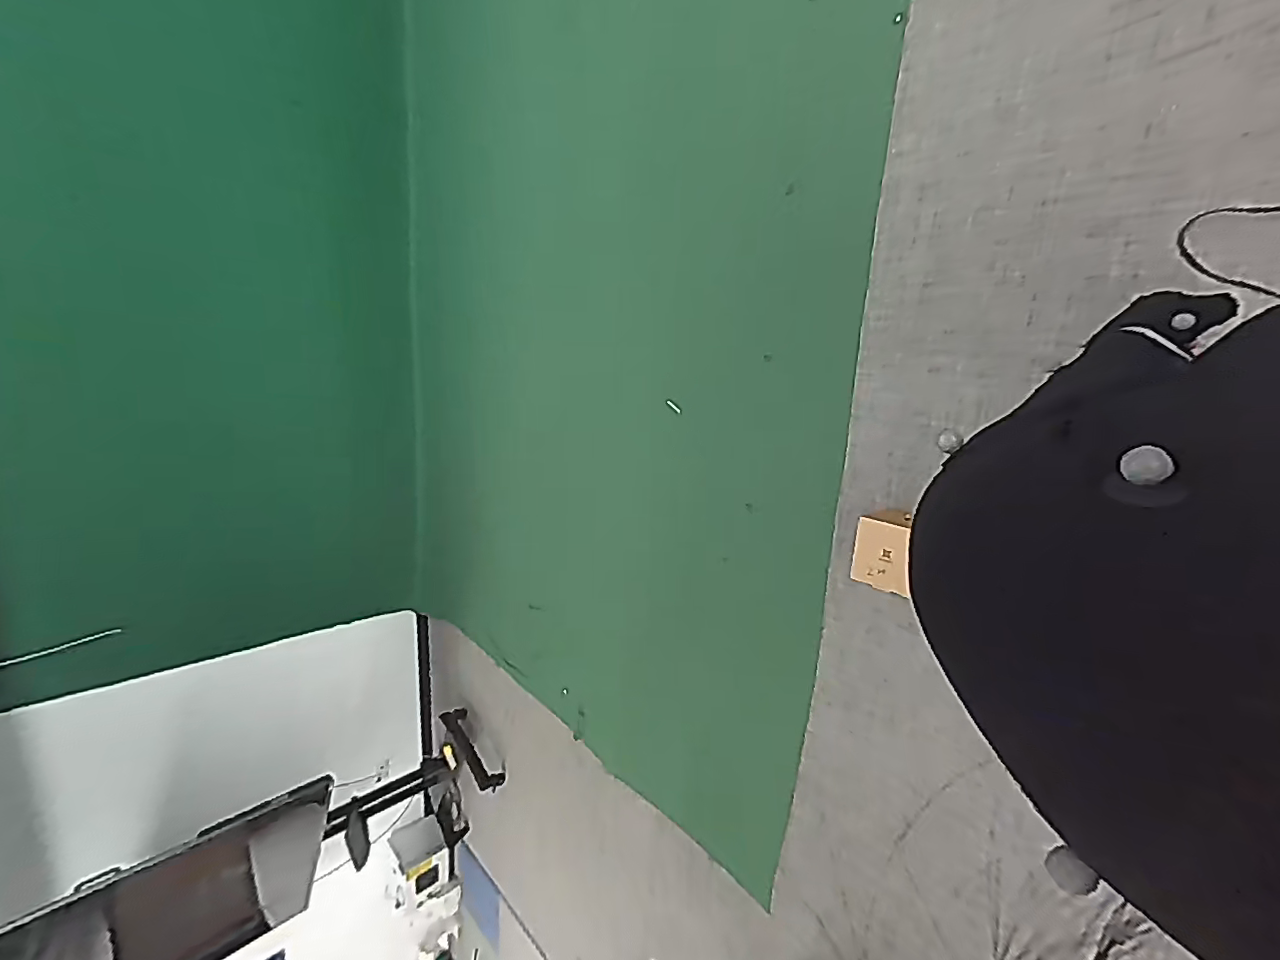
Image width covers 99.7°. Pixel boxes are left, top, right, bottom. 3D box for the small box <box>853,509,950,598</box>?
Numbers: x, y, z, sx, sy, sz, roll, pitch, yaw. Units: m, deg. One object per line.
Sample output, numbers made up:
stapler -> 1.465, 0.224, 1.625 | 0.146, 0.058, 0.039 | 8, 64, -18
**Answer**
small box -> 0.682, 0.180, 1.403 | 0.168, 0.176, 0.179 | 16, 107, 45
